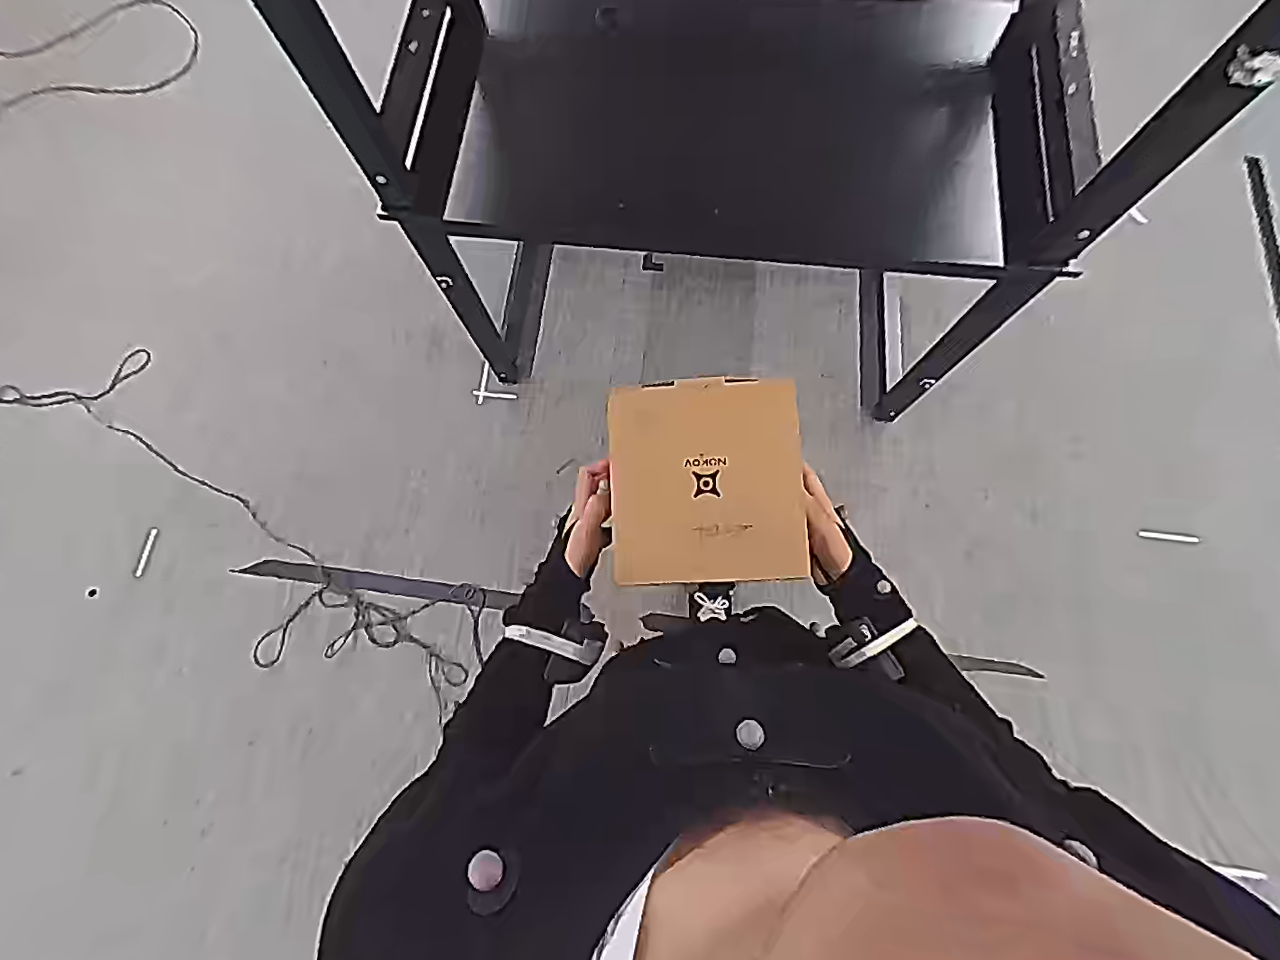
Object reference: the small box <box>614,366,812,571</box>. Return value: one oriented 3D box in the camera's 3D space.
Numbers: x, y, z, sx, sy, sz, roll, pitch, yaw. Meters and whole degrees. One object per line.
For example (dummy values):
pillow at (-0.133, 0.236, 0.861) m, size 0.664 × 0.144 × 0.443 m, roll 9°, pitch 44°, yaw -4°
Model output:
small box at (0.062, 0.000, 0.538) m, size 0.168 × 0.176 × 0.179 m, roll -2°, pitch 83°, yaw 3°
